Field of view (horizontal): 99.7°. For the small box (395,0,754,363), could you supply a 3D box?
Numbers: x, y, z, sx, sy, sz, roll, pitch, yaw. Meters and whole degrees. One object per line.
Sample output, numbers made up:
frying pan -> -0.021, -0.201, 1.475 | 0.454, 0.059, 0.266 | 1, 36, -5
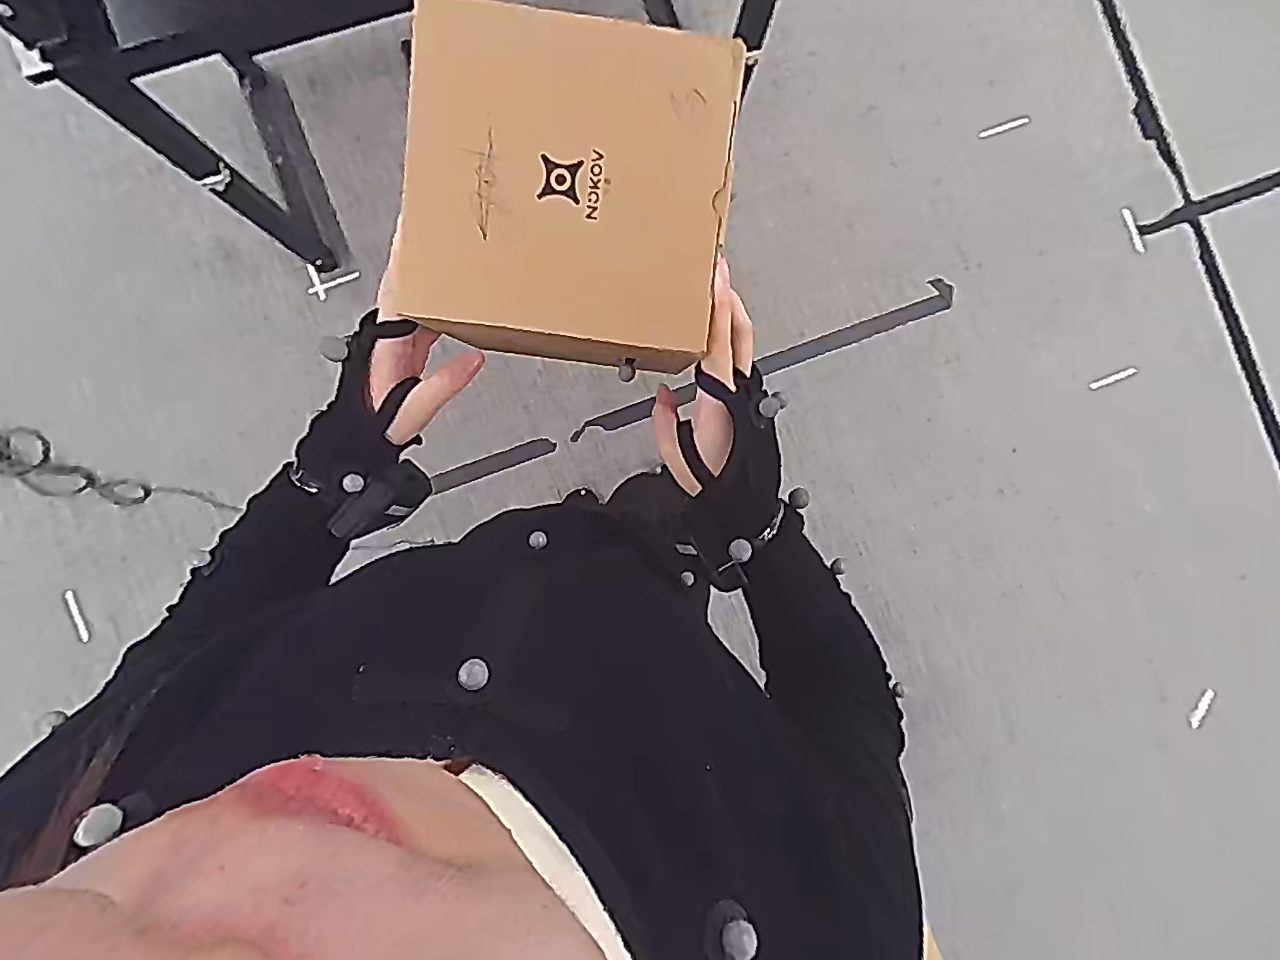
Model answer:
small box -> -0.039, -0.175, 0.363 | 0.179, 0.176, 0.168 | 6, 96, -2
